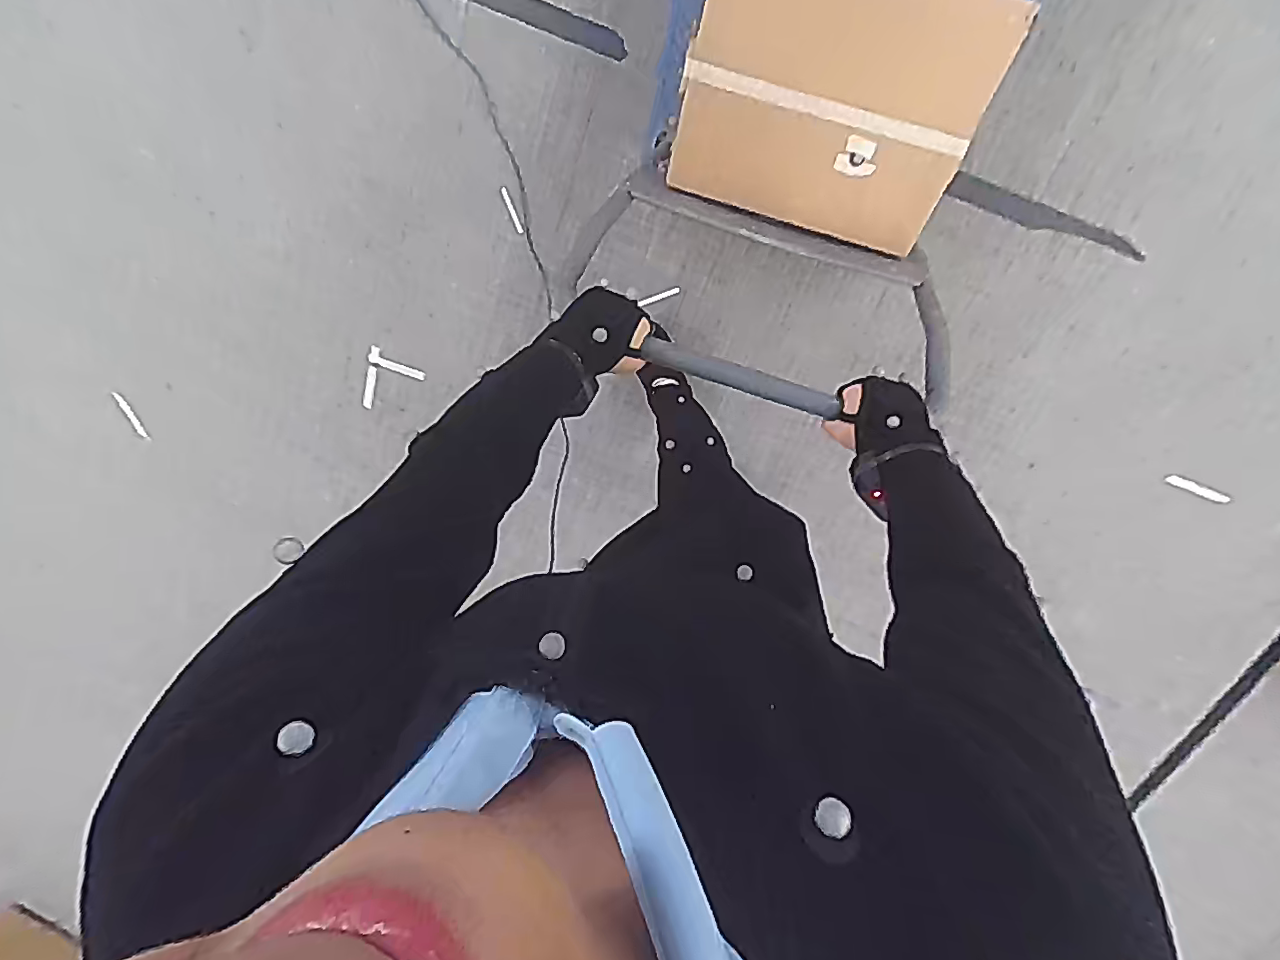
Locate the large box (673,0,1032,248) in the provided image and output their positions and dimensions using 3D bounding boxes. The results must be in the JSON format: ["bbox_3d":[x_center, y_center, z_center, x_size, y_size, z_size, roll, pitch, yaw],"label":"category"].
[{"bbox_3d":[0.300,-0.629,0.886,0.408,0.320,0.320,17,132,1],"label":"large box"}]
